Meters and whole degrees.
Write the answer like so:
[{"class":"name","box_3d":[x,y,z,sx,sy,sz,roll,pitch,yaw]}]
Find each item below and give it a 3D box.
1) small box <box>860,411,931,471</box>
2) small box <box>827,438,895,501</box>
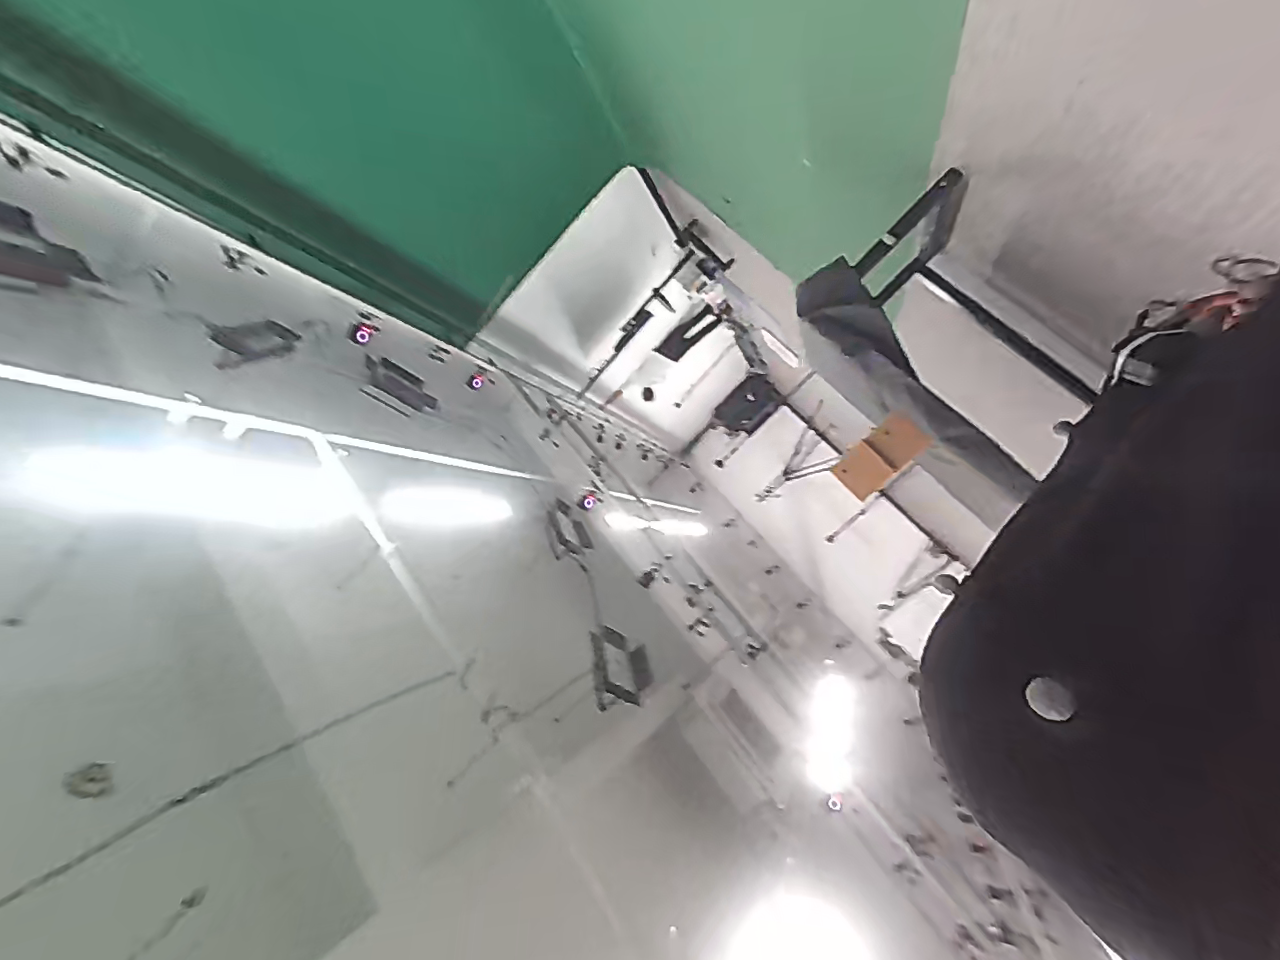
[{"class":"small box","box_3d":[0.978,-0.153,2.084,0.179,0.176,0.168,47,-168,11]},{"class":"small box","box_3d":[0.857,-0.043,2.097,0.179,0.176,0.168,48,-168,9]}]
